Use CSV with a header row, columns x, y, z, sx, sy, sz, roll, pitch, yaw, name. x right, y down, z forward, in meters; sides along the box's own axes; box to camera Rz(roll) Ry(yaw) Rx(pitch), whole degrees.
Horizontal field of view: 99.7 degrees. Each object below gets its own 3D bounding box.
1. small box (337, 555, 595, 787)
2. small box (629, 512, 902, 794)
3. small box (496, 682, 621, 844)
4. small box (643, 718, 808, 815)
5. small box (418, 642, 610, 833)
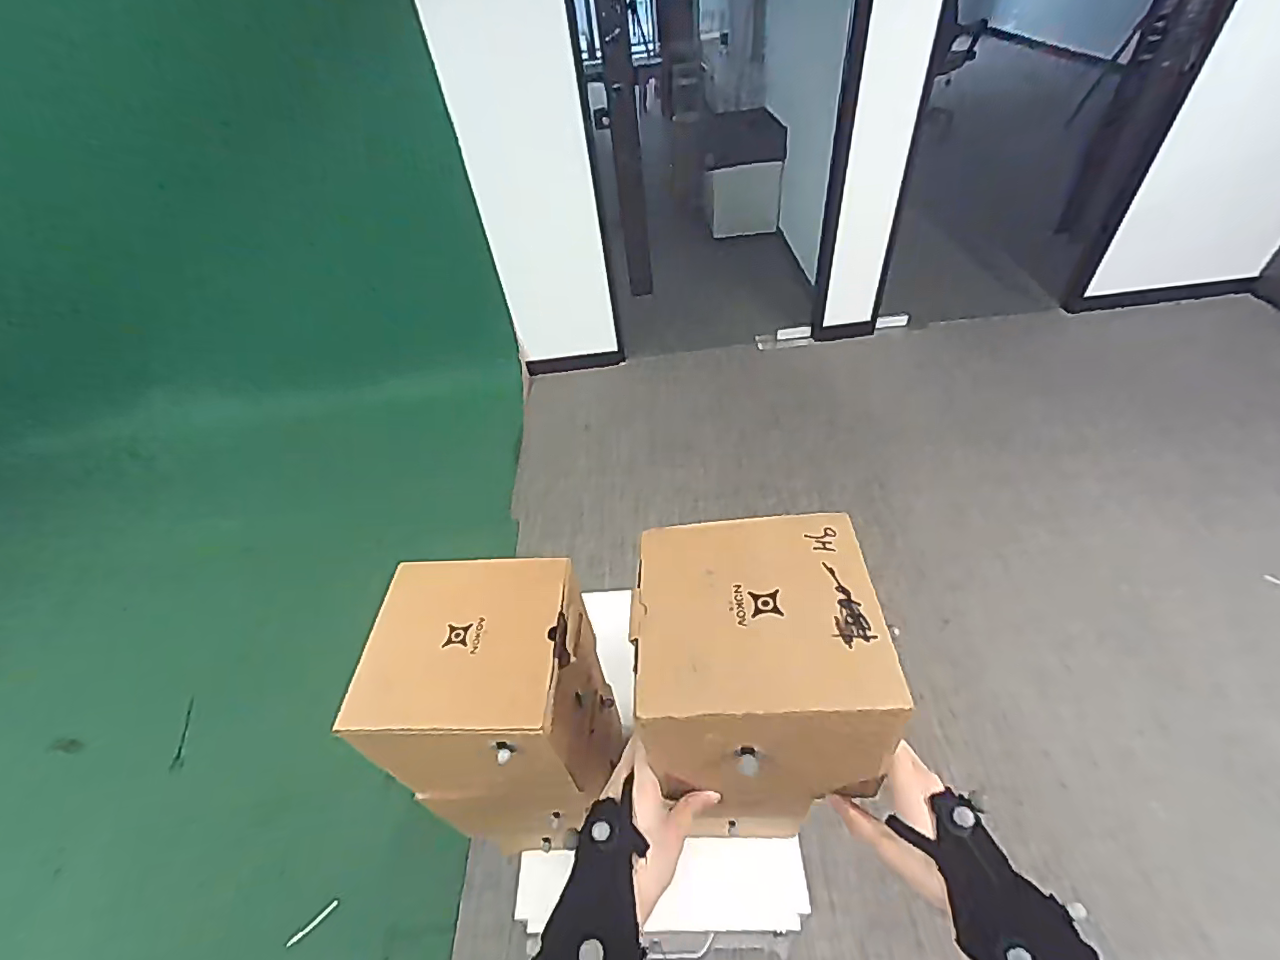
x,y,z,sx,sy,sz,roll,pitch,yaw,name
-0.148,0.192,0.536,0.179,0.176,0.168,-2,46,4,small box
0.095,0.148,0.454,0.179,0.176,0.168,-6,43,8,small box
-0.117,0.409,0.777,0.168,0.176,0.179,-2,46,3,small box
0.102,0.283,0.639,0.179,0.176,0.168,-3,46,6,small box
-0.131,0.309,0.649,0.179,0.176,0.168,-4,45,3,small box
